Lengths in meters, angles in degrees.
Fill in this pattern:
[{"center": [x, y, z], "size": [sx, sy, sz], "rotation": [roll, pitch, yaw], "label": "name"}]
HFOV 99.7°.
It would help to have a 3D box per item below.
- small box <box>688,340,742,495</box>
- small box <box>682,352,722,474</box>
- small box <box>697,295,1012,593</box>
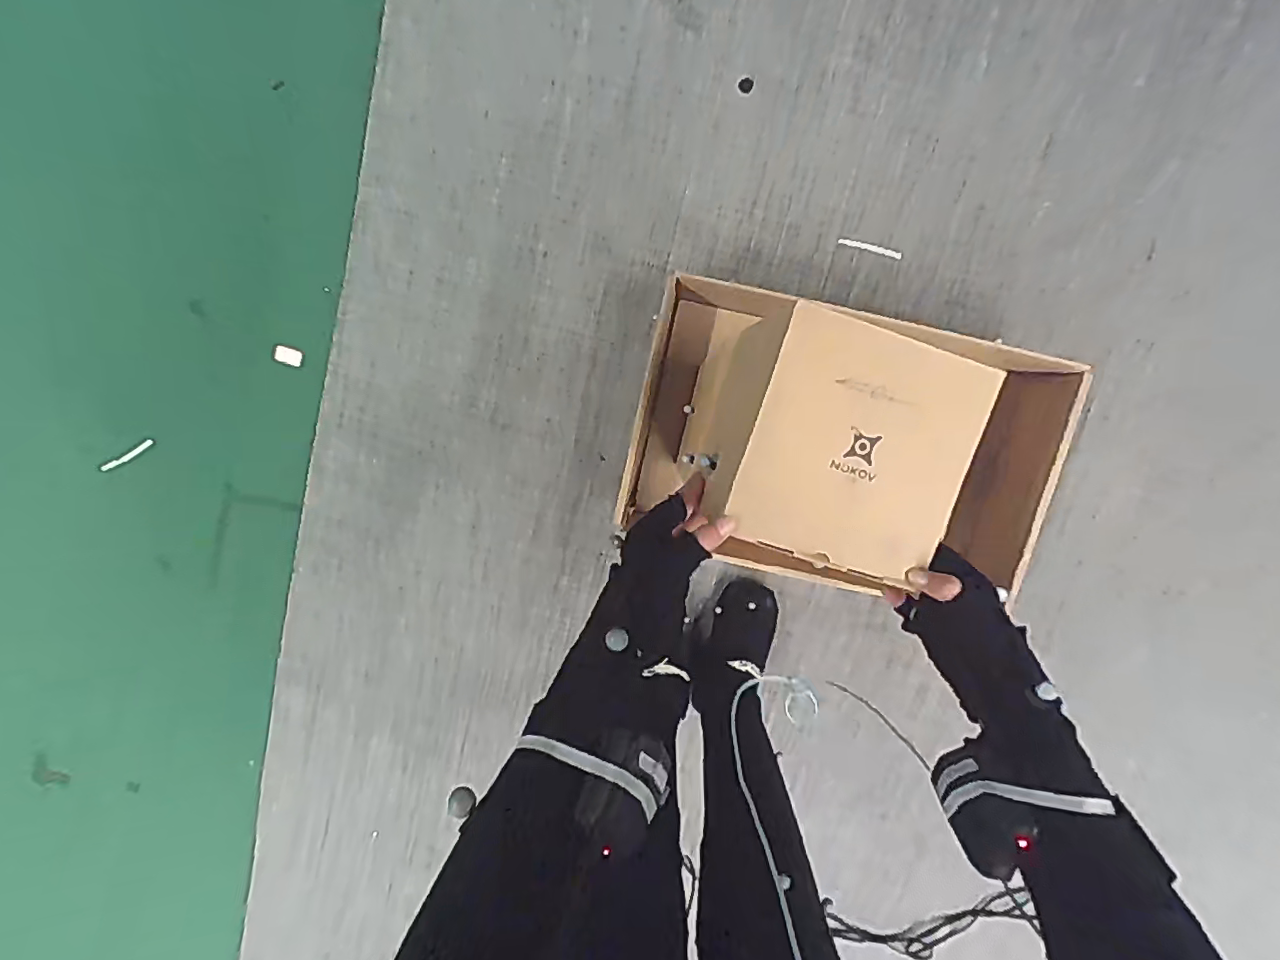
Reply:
[{"center": [0.158, -0.062, 0.670], "size": [0.168, 0.176, 0.179], "rotation": [13, 99, 0], "label": "small box"}, {"center": [0.163, -0.085, 0.831], "size": [0.168, 0.176, 0.179], "rotation": [14, 99, 0], "label": "small box"}, {"center": [0.156, -0.032, 0.463], "size": [0.168, 0.176, 0.179], "rotation": [18, 97, -6], "label": "small box"}]
